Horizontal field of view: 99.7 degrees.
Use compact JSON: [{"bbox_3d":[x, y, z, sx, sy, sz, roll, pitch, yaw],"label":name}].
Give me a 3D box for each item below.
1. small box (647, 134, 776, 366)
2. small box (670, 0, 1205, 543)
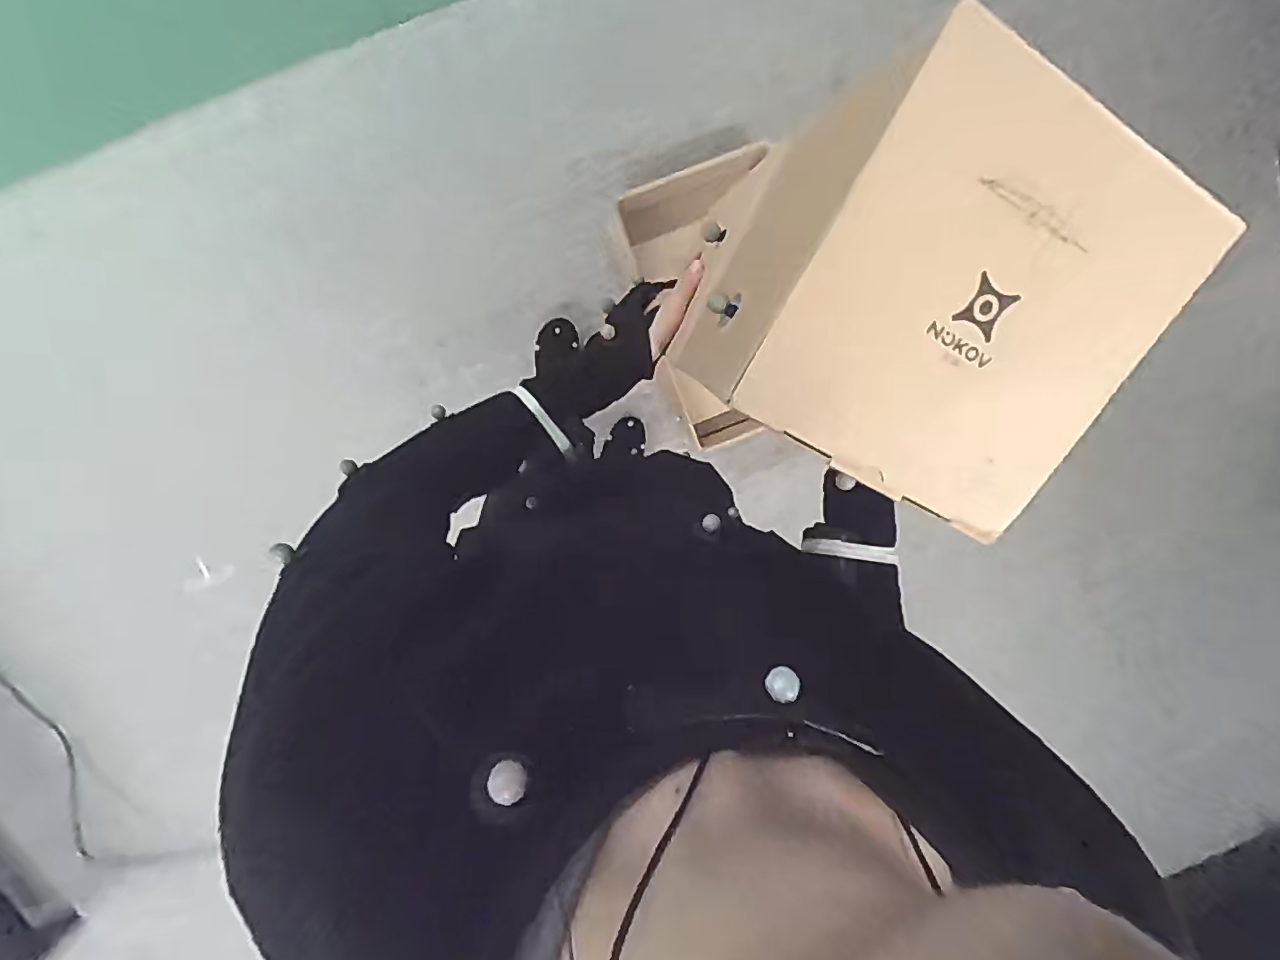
[{"bbox_3d":[0.116,-0.151,0.468,0.179,0.176,0.168,24,106,-11],"label":"small box"},{"bbox_3d":[0.129,-0.099,0.314,0.168,0.176,0.179,26,105,-13],"label":"small box"}]
